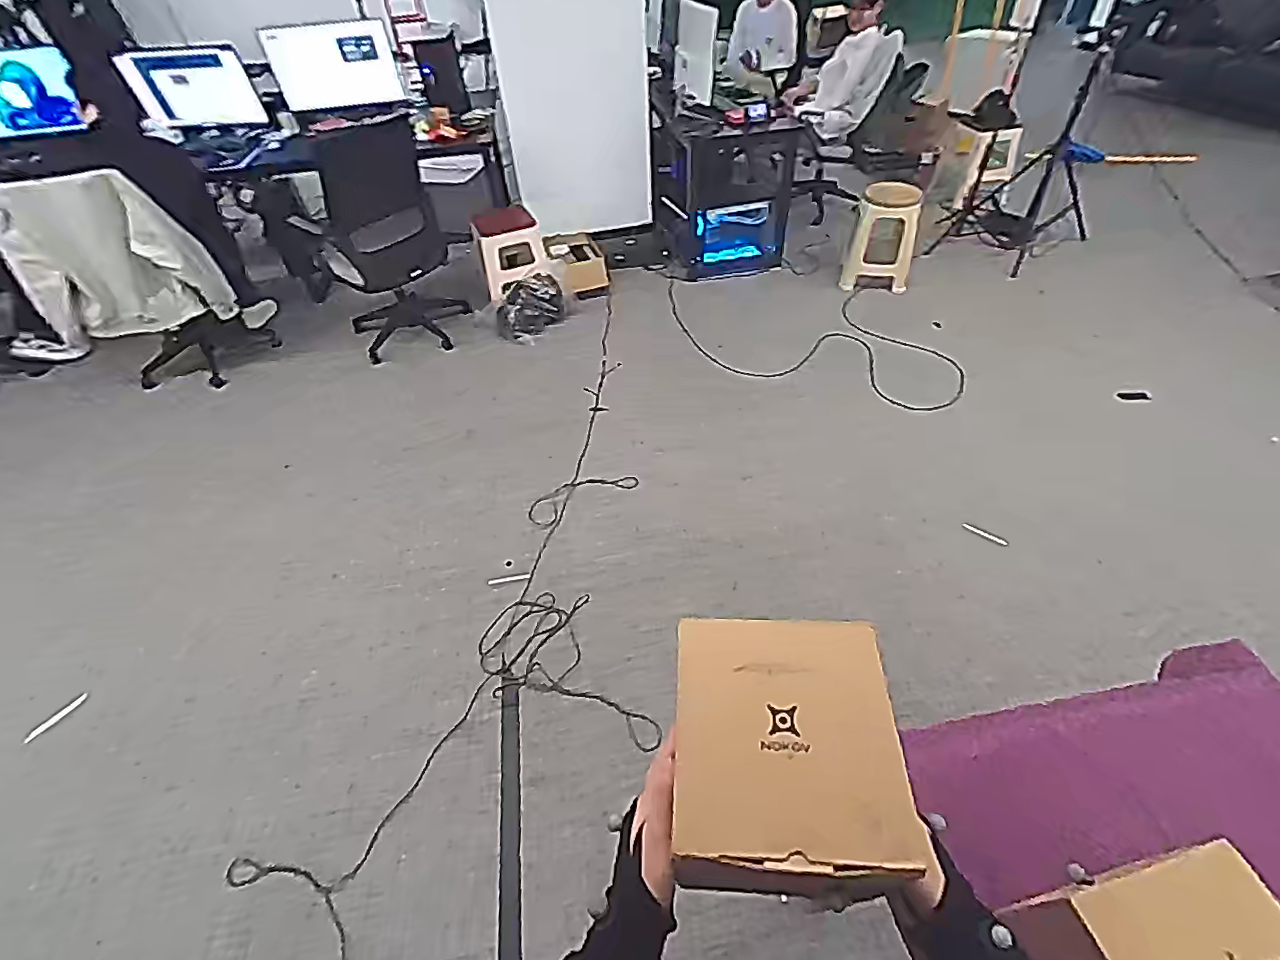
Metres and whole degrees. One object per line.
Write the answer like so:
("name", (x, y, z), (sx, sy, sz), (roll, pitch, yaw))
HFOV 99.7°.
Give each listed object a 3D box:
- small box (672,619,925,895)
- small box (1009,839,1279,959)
("small box", (0.114, 0.239, 0.466), (0.168, 0.176, 0.179), (0, 47, 5))
("small box", (0.484, 0.461, 0.495), (0.179, 0.176, 0.168), (-11, 48, -8))
